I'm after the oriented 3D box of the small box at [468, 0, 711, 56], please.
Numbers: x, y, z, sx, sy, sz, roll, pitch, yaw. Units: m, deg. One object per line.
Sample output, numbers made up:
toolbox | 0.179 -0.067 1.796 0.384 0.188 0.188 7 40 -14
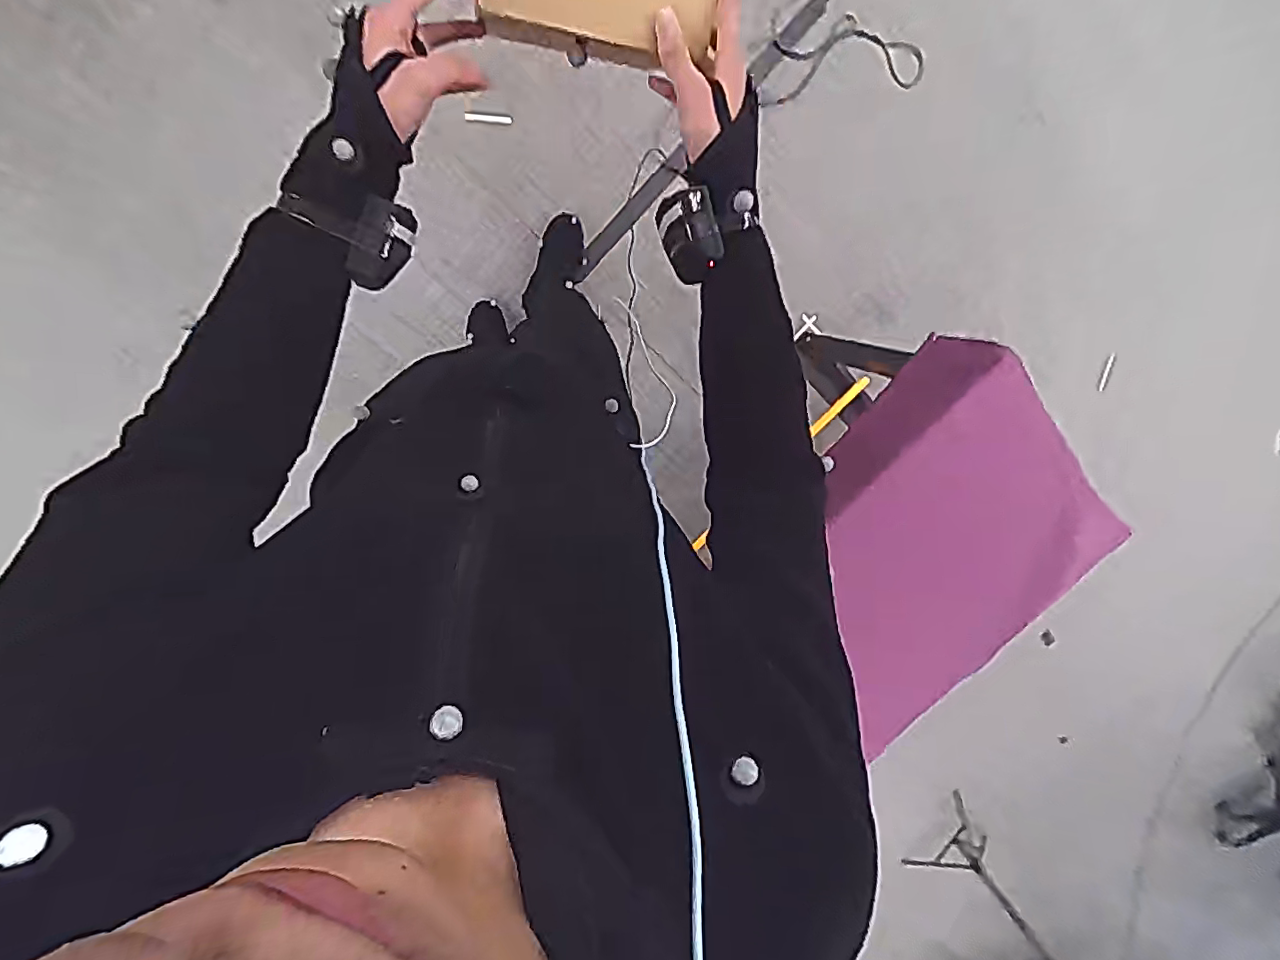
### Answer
small box | -0.041 -0.440 0.408 0.179 0.176 0.168 -1 126 -16
